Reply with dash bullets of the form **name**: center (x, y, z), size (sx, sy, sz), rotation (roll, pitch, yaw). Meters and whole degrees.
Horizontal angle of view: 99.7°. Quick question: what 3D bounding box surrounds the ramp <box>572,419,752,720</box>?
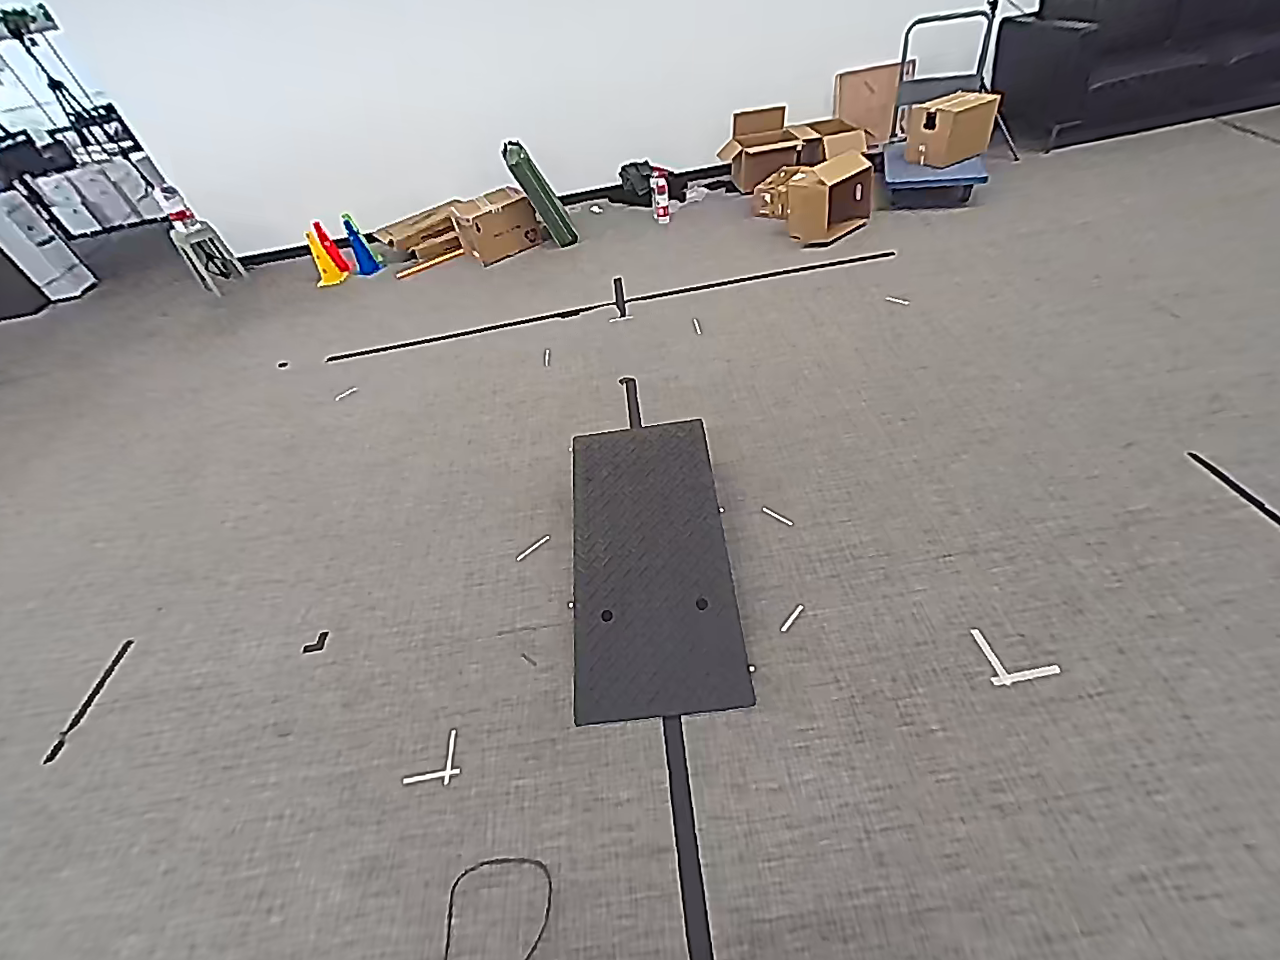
- **ramp**: center (0.025, 0.214, 1.733), size (0.509, 0.206, 0.991), rotation (-8, 45, 2)
